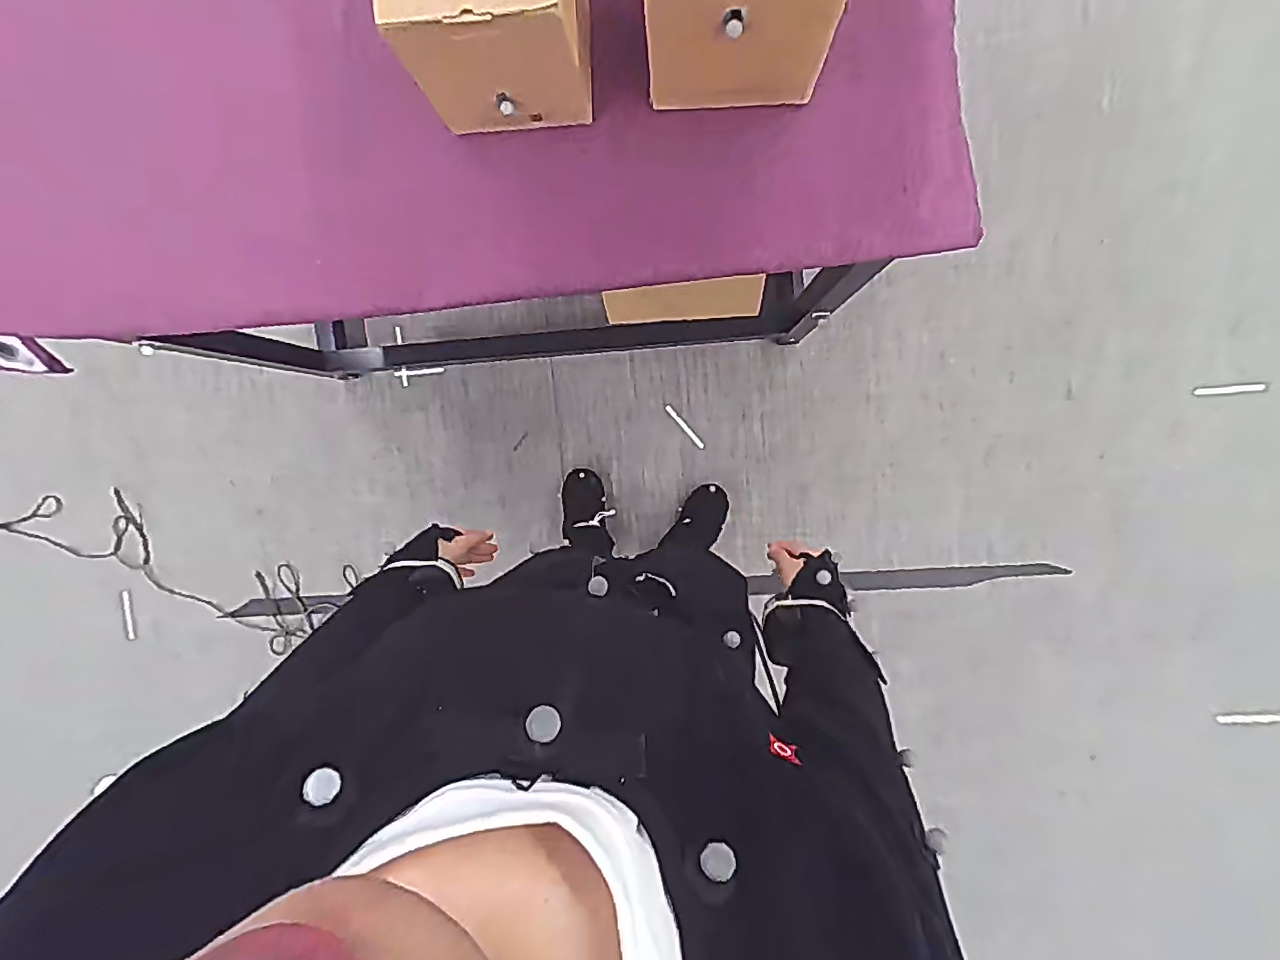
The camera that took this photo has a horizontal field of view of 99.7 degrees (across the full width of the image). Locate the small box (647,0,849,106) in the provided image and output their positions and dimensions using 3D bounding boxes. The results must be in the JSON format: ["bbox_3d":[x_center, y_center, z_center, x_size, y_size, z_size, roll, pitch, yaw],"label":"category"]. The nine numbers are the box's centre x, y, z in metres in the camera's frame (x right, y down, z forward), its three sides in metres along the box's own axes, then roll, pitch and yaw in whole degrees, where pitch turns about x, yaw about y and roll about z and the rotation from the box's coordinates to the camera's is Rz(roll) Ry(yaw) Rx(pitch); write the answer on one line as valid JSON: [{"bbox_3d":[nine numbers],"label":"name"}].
[{"bbox_3d":[0.099,-0.494,0.520,0.179,0.176,0.168,1,93,5],"label":"small box"}]

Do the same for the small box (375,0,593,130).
[{"bbox_3d":[-0.142,-0.487,0.536,0.168,0.176,0.179,-1,94,5],"label":"small box"}]
